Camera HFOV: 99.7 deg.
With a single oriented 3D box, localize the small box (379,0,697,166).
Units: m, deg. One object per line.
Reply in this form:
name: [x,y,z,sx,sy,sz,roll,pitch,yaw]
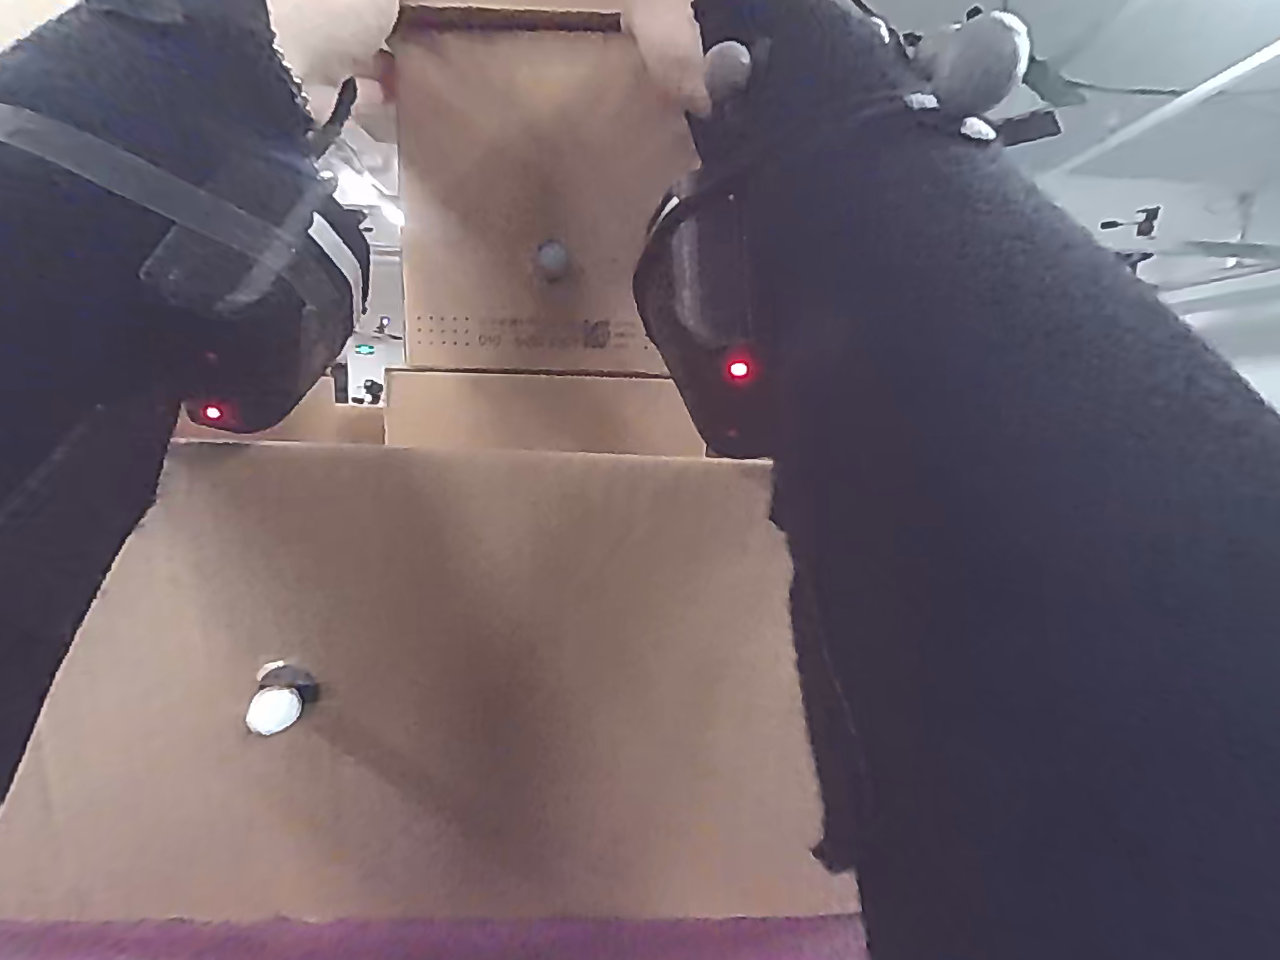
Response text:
small box: [-0.050,-0.311,0.330,0.168,0.176,0.179,1,10,1]
